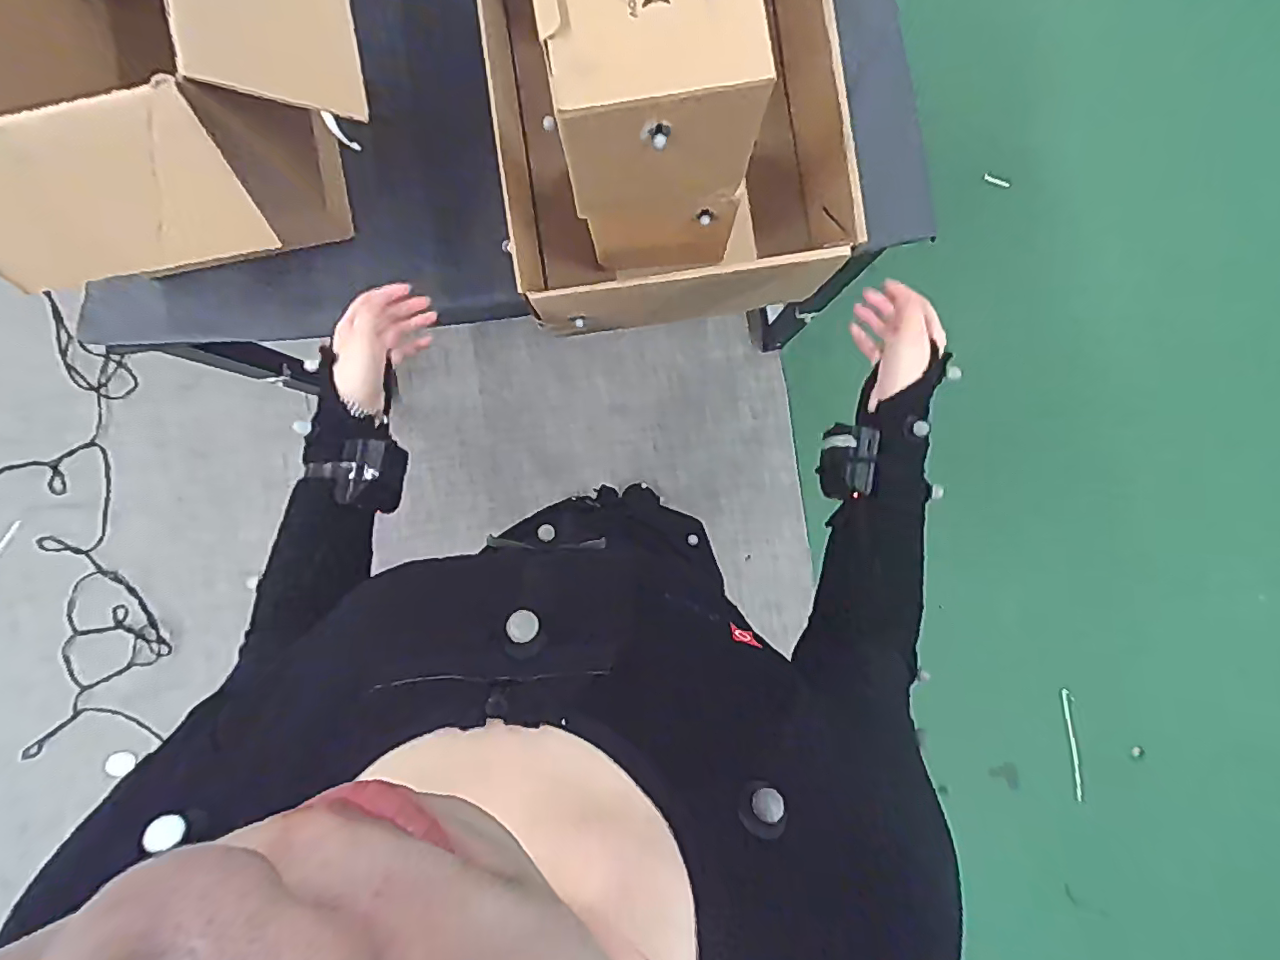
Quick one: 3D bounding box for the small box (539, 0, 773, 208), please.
[{"bbox_3d":[0.008,-0.379,0.503,0.179,0.176,0.168,-9,91,-1],"label":"small box"}]
